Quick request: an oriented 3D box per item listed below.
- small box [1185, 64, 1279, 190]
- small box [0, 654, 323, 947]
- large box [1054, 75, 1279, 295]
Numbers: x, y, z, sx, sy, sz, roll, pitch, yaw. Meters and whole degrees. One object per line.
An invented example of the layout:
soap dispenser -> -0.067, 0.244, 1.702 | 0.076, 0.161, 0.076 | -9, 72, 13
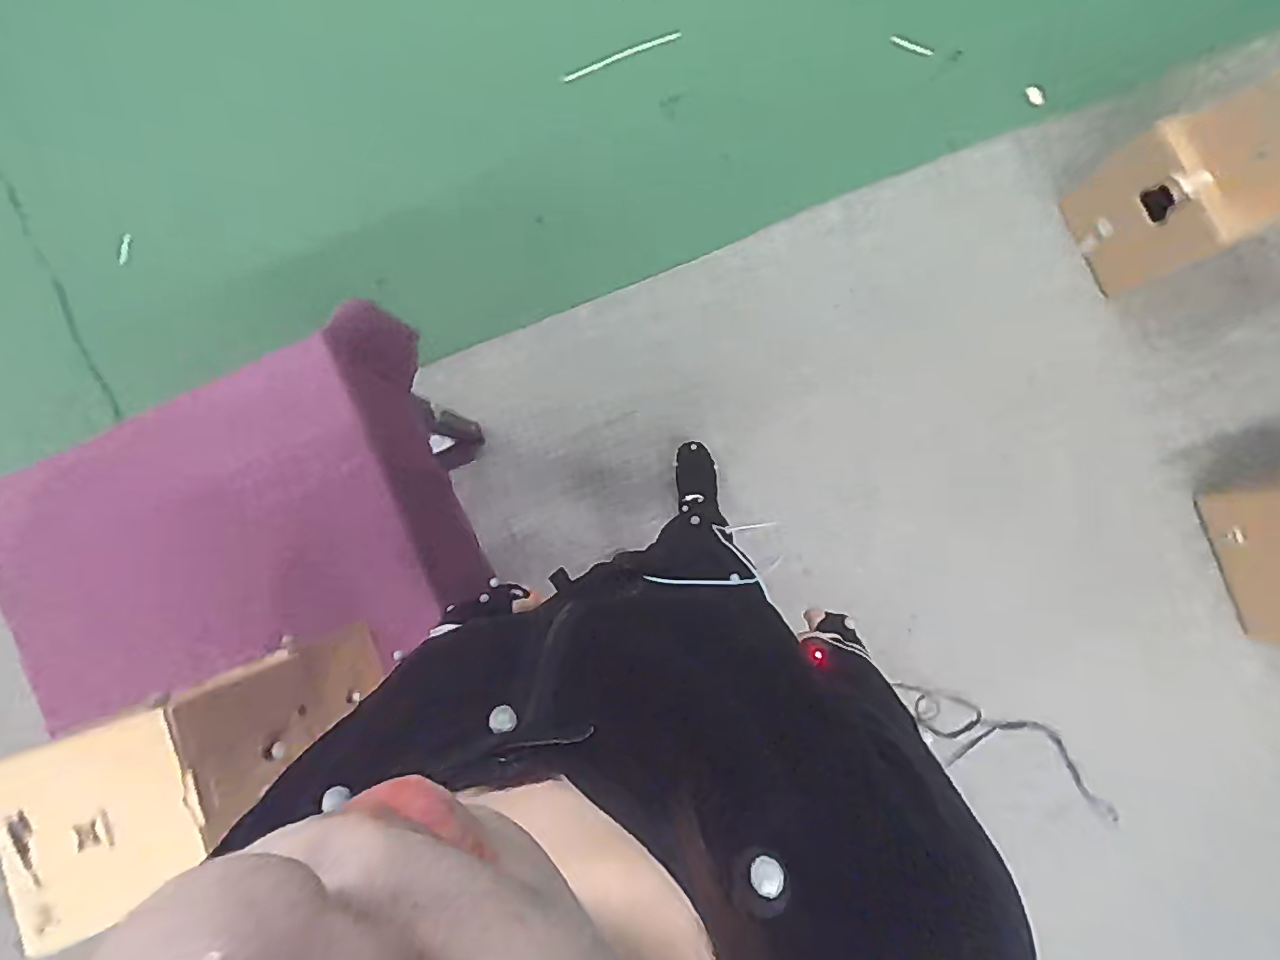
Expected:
small box -> 1.317, -0.740, 1.122 | 0.168, 0.176, 0.179 | -24, 85, -1
small box -> -0.452, 0.294, 0.539 | 0.179, 0.176, 0.168 | -19, 87, 0
large box -> 1.394, -0.737, 1.364 | 0.408, 0.320, 0.320 | -23, 86, -1
